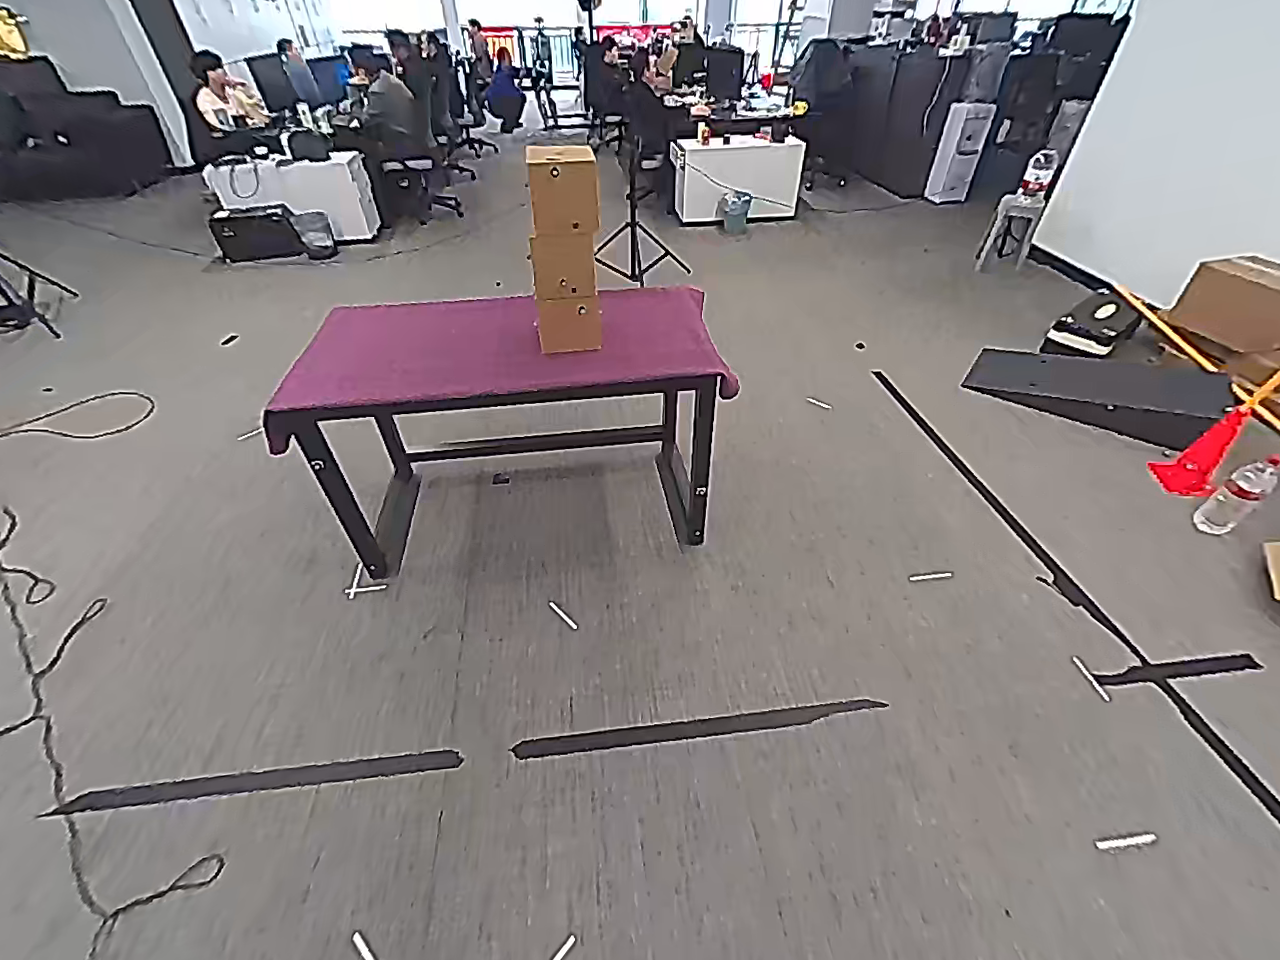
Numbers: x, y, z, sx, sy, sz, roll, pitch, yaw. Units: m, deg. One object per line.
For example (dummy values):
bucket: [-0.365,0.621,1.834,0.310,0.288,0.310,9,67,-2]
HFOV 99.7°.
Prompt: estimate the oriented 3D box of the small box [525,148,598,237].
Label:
small box: [-0.200,-0.737,1.385,0.168,0.176,0.179,-7,42,-6]

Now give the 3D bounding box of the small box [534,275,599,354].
small box: [-0.214,-0.489,1.600,0.179,0.176,0.168,-7,41,-6]
